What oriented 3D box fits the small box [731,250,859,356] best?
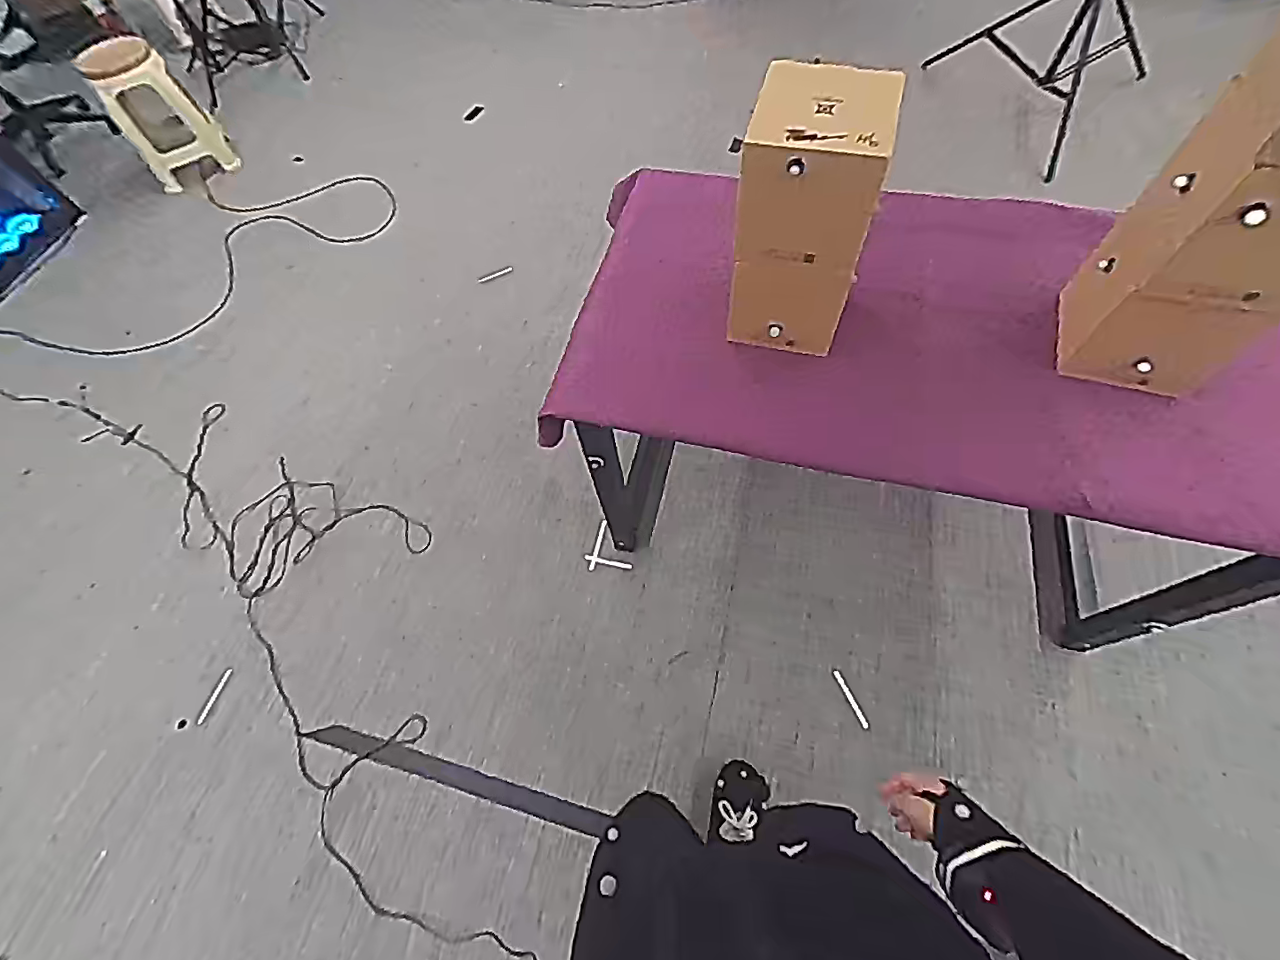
[{"bbox_3d":[0.243,-0.326,0.850,0.168,0.176,0.179,13,65,12],"label":"small box"}]

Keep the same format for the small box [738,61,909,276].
[{"bbox_3d":[0.229,-0.402,0.705,0.168,0.176,0.179,14,64,12],"label":"small box"}]

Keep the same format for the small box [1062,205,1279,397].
[{"bbox_3d":[0.738,-0.250,0.766,0.168,0.176,0.179,16,65,14],"label":"small box"}]

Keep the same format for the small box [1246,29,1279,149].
[{"bbox_3d":[0.706,-0.396,0.475,0.168,0.176,0.179,19,64,13],"label":"small box"}]
